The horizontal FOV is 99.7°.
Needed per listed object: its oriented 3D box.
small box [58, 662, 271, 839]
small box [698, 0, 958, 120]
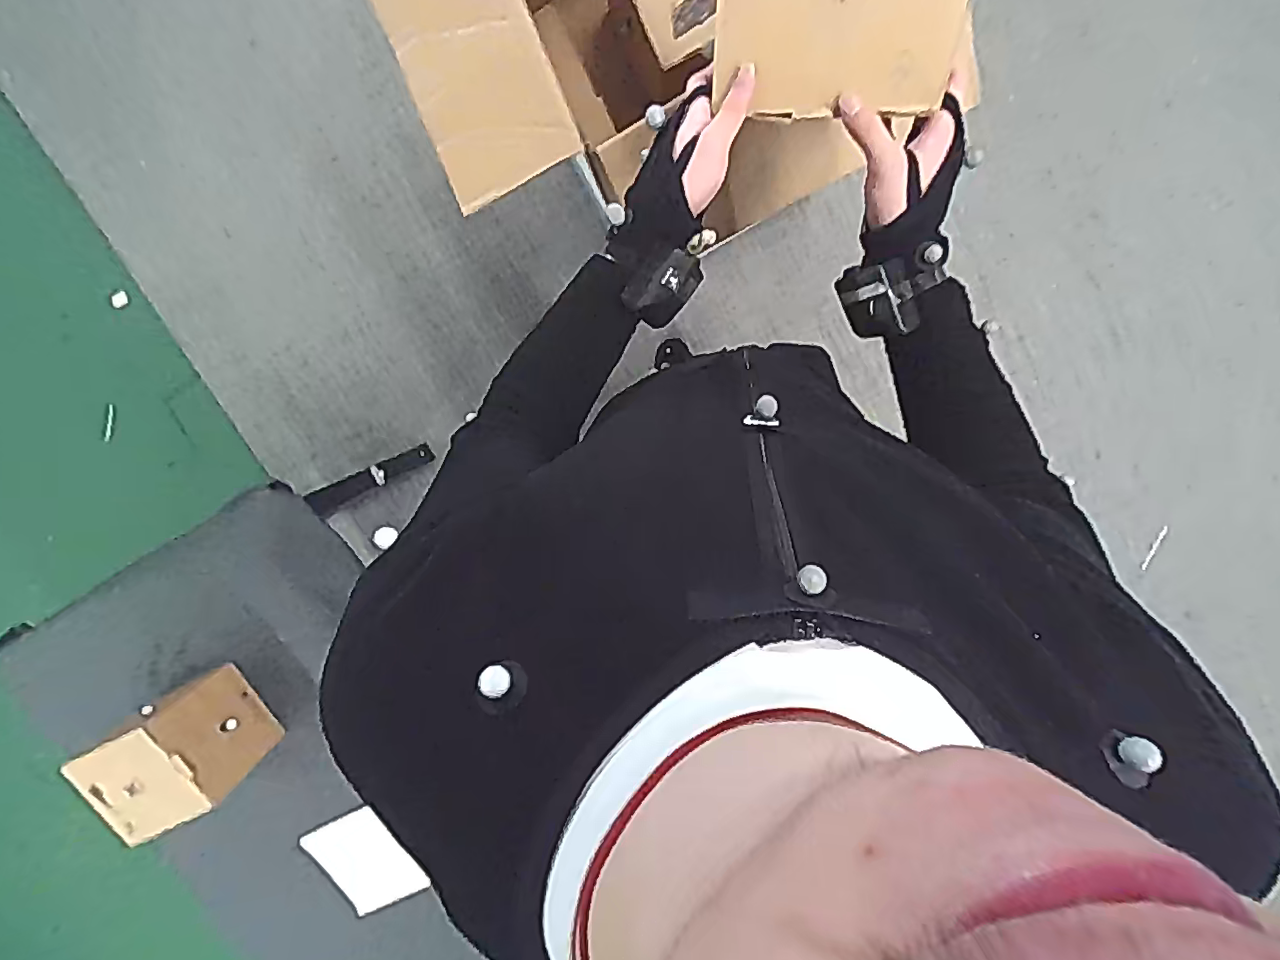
[{"bbox_3d":[-0.760,0.435,0.895,0.179,0.176,0.168,-27,102,7],"label":"small box"},{"bbox_3d":[0.135,-0.380,0.401,0.168,0.176,0.179,4,126,9],"label":"small box"}]
